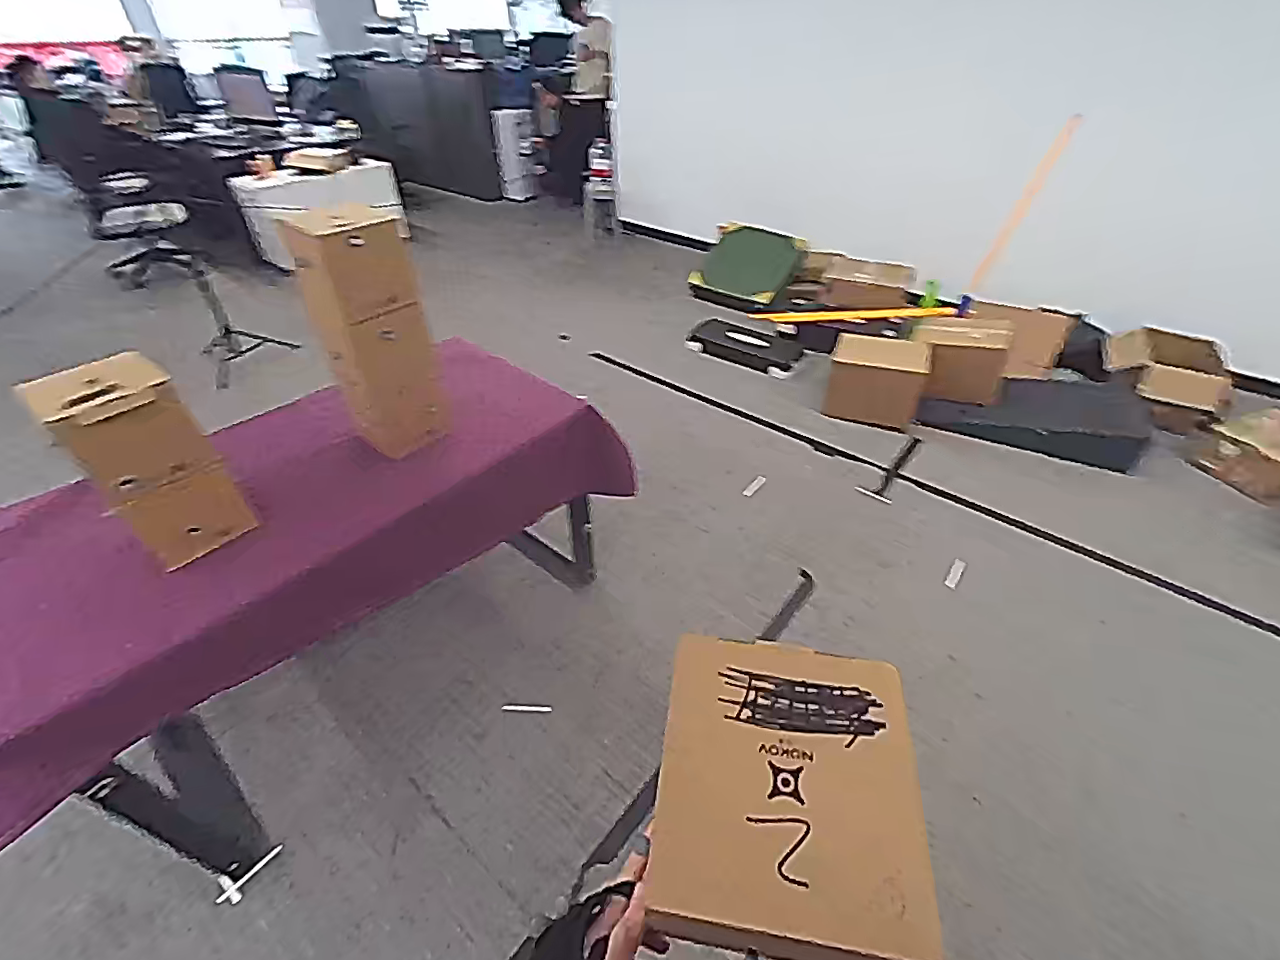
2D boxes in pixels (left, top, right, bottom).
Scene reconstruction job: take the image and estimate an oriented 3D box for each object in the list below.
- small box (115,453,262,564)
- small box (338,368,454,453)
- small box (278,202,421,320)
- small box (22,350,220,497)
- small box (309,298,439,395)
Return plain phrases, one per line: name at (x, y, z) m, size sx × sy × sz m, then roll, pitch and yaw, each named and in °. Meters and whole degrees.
small box at (-0.879, 0.029, 1.039) m, size 0.179 × 0.176 × 0.168 m, roll 29°, pitch 48°, yaw 28°
small box at (-0.572, -0.185, 1.288) m, size 0.179 × 0.176 × 0.168 m, roll 29°, pitch 48°, yaw 29°
small box at (-0.569, -0.437, 1.076) m, size 0.179 × 0.176 × 0.168 m, roll 28°, pitch 48°, yaw 29°
small box at (-0.879, -0.095, 0.931) m, size 0.179 × 0.176 × 0.168 m, roll 27°, pitch 47°, yaw 27°
small box at (-0.569, -0.308, 1.178) m, size 0.168 × 0.176 × 0.179 m, roll 29°, pitch 48°, yaw 27°
